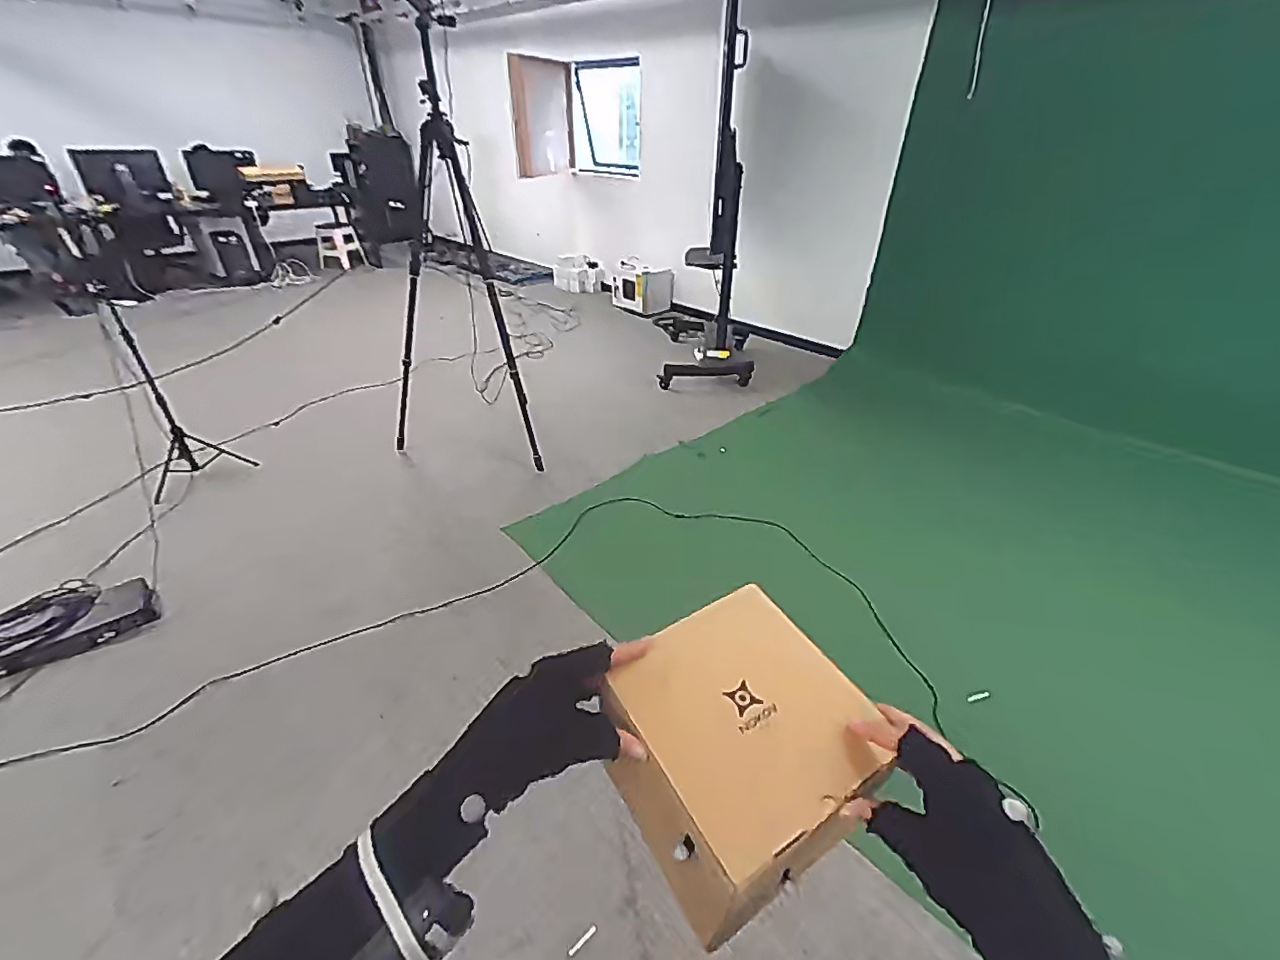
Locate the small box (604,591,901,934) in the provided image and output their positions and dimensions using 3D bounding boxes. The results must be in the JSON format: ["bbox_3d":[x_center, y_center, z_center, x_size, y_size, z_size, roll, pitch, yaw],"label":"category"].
[{"bbox_3d":[0.076,0.236,0.469,0.168,0.176,0.179,-19,44,-25],"label":"small box"}]
